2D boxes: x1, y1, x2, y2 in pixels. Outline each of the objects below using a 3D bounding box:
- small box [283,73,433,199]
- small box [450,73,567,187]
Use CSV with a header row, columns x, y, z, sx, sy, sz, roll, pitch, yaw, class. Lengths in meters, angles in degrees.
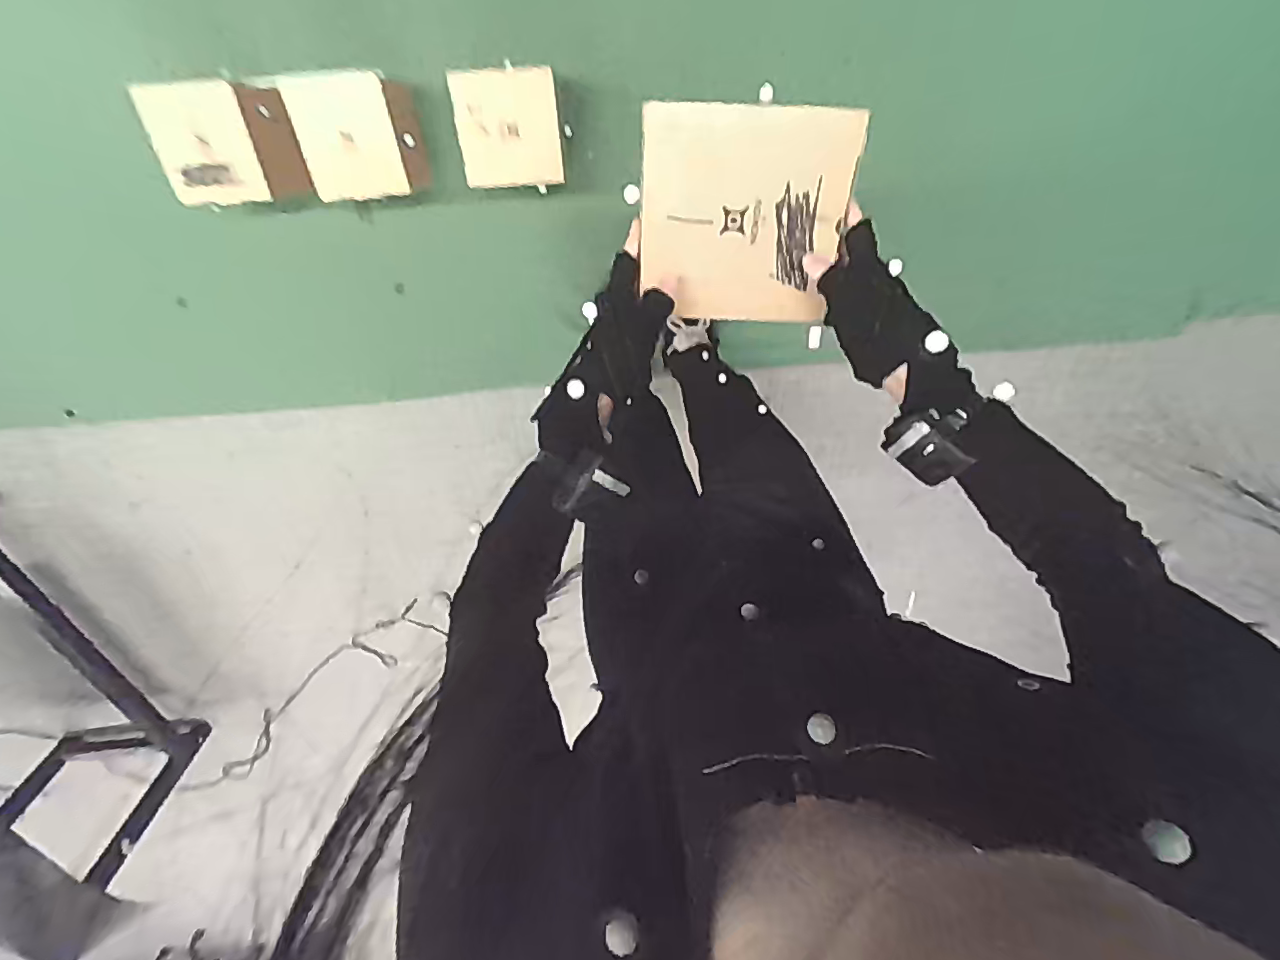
x,y,z,sx,sy,sz,roll,pitch,yaw,class
-0.504,-0.628,0.996,0.168,0.176,0.179,-5,124,0,small box
-0.229,-0.642,0.997,0.179,0.176,0.168,-3,122,-1,small box
